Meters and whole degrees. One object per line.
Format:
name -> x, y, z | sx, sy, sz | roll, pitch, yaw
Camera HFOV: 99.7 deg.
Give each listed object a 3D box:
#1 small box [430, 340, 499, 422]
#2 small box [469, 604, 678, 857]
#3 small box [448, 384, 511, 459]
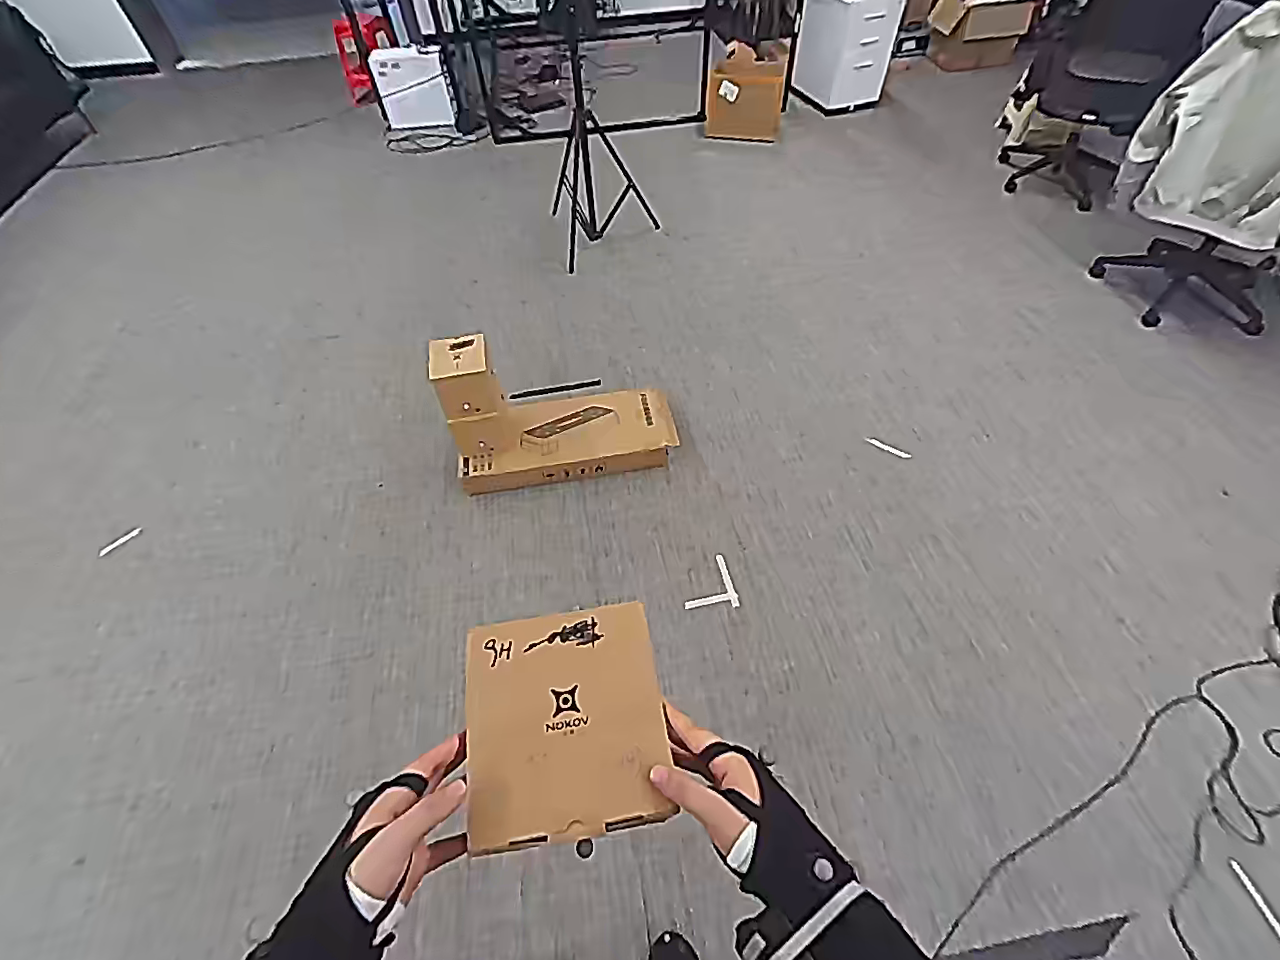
small box -> -0.540, -0.307, 1.681 | 0.168, 0.176, 0.179 | -11, 52, -6
small box -> -0.062, 0.242, 0.526 | 0.168, 0.176, 0.179 | -8, 58, -6
small box -> -0.530, -0.194, 1.800 | 0.168, 0.176, 0.179 | -10, 52, -5
